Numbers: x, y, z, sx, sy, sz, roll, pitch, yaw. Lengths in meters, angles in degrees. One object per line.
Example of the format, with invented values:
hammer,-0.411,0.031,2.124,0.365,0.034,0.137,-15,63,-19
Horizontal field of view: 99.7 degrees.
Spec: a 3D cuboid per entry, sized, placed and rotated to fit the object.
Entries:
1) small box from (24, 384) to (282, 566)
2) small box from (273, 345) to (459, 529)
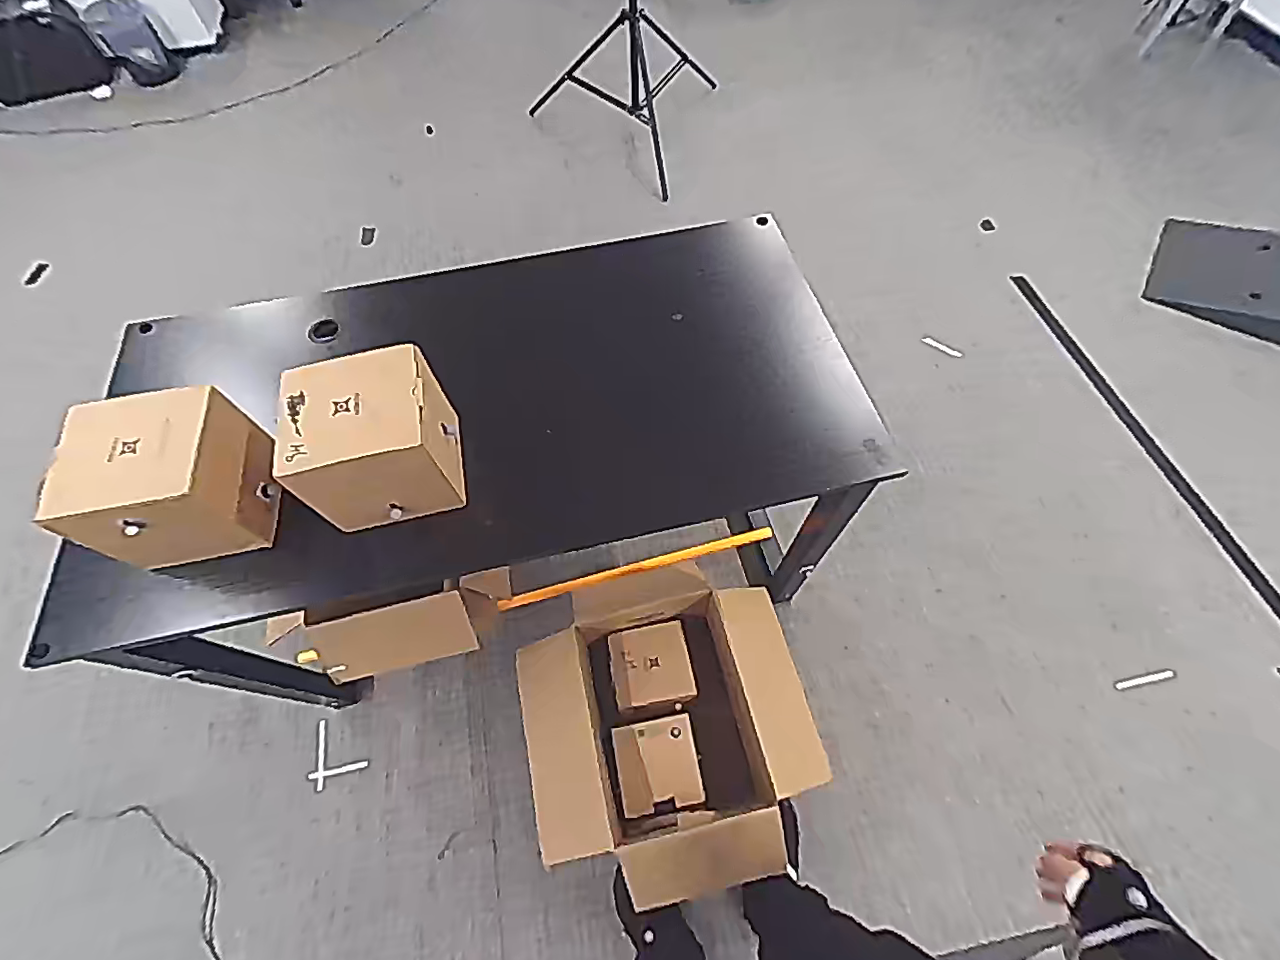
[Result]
small box,-0.612,0.001,0.712,0.179,0.176,0.168,-10,62,-5
small box,-0.355,-0.052,0.734,0.179,0.176,0.168,-13,62,-6
